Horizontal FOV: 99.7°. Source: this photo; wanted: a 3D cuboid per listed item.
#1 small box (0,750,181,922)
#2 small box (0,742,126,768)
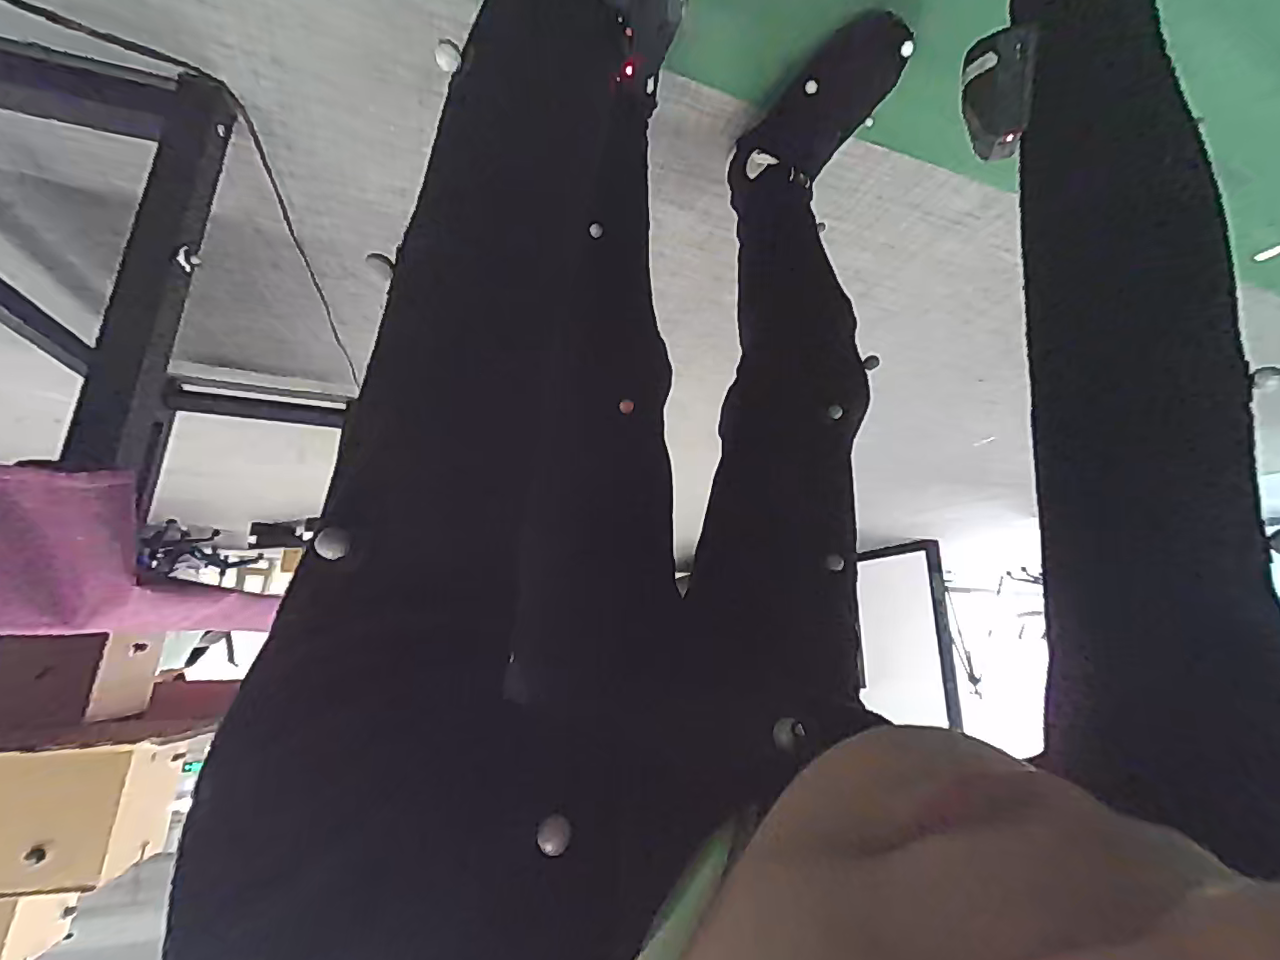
[{"bbox_3d":[-0.789,0.482,0.758,0.179,0.176,0.168,6,160,-15],"label":"small box"},{"bbox_3d":[-1.020,0.534,0.895,0.179,0.176,0.168,5,159,-16],"label":"small box"}]
